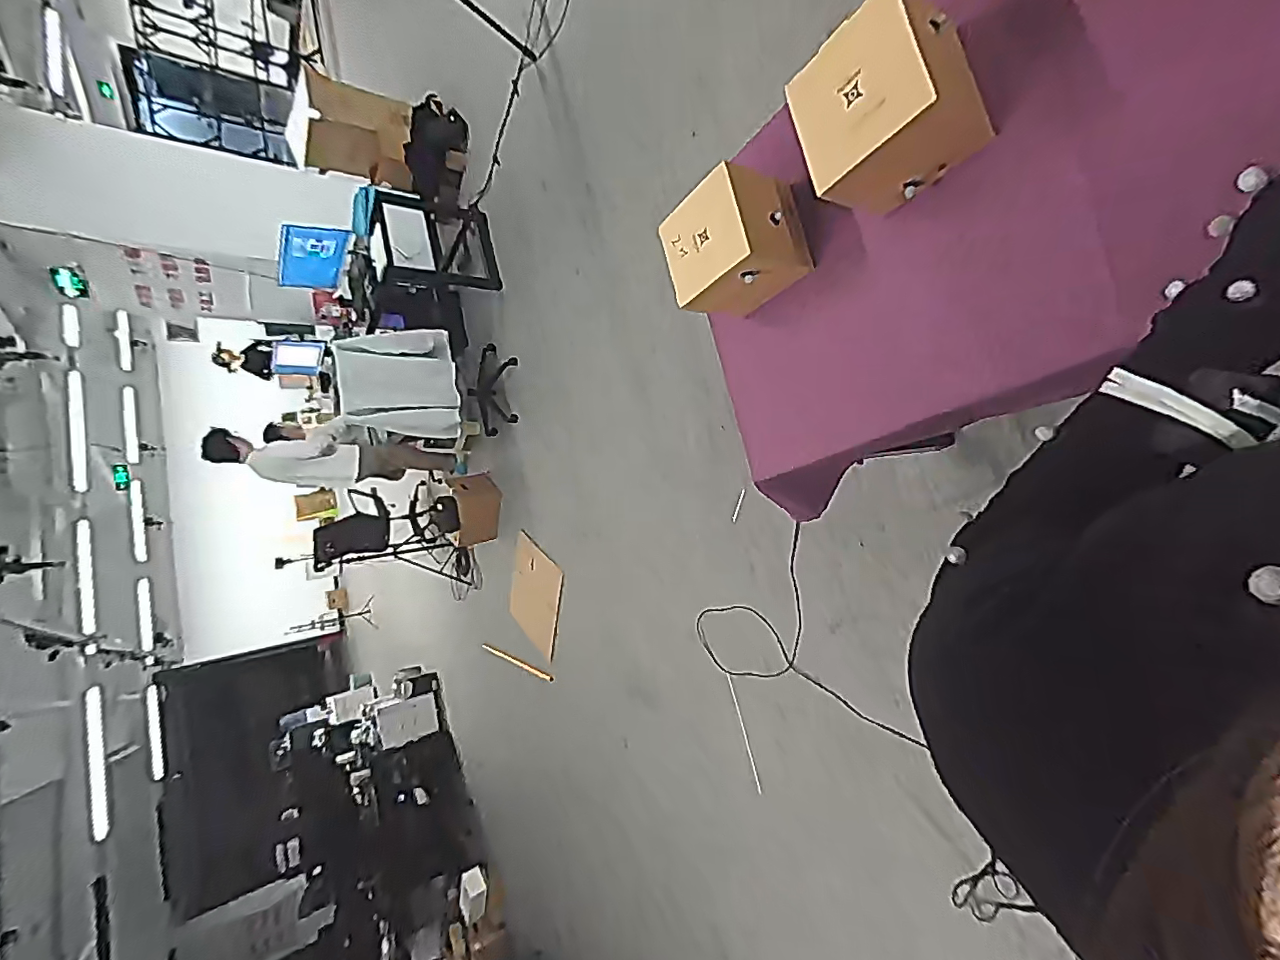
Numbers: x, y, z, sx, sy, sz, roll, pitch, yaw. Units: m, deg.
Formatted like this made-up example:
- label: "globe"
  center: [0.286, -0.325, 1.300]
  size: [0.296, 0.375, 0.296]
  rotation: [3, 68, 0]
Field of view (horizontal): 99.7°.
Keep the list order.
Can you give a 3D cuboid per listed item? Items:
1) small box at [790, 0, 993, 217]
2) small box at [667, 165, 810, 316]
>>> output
- label: "small box"
  center: [0.338, -0.493, 0.734]
  size: [0.168, 0.176, 0.179]
  rotation: [-24, 75, 53]
- label: "small box"
  center: [0.178, -0.409, 0.957]
  size: [0.179, 0.176, 0.168]
  rotation: [-24, 75, 52]
